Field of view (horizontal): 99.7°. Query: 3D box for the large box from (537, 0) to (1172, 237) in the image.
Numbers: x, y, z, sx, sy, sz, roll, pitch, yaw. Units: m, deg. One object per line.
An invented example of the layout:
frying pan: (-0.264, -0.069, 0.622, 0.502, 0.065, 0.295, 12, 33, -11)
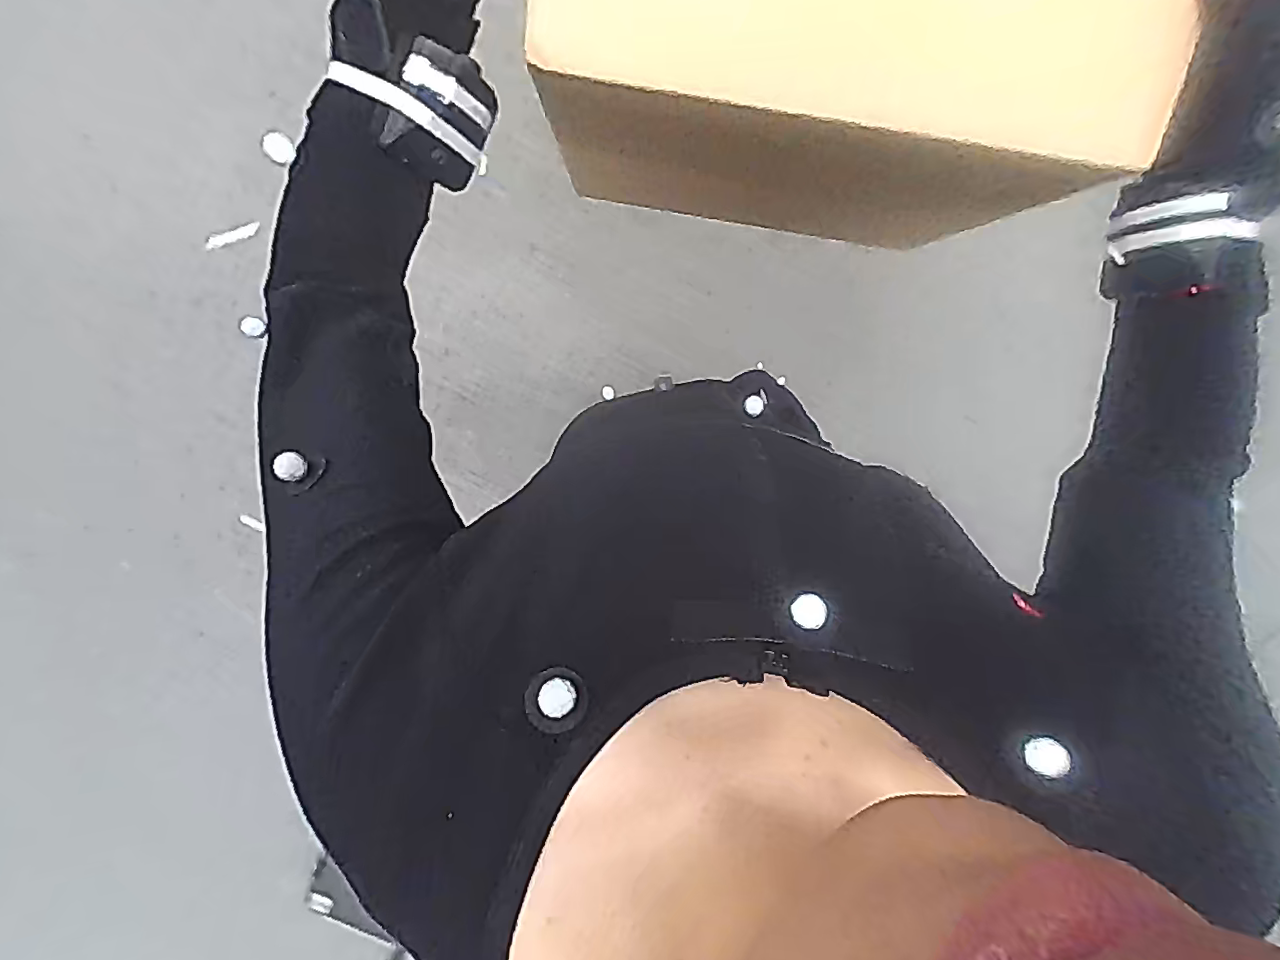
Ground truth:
large box: (0.140, -0.421, 0.461, 0.408, 0.320, 0.320, 6, 104, -3)
